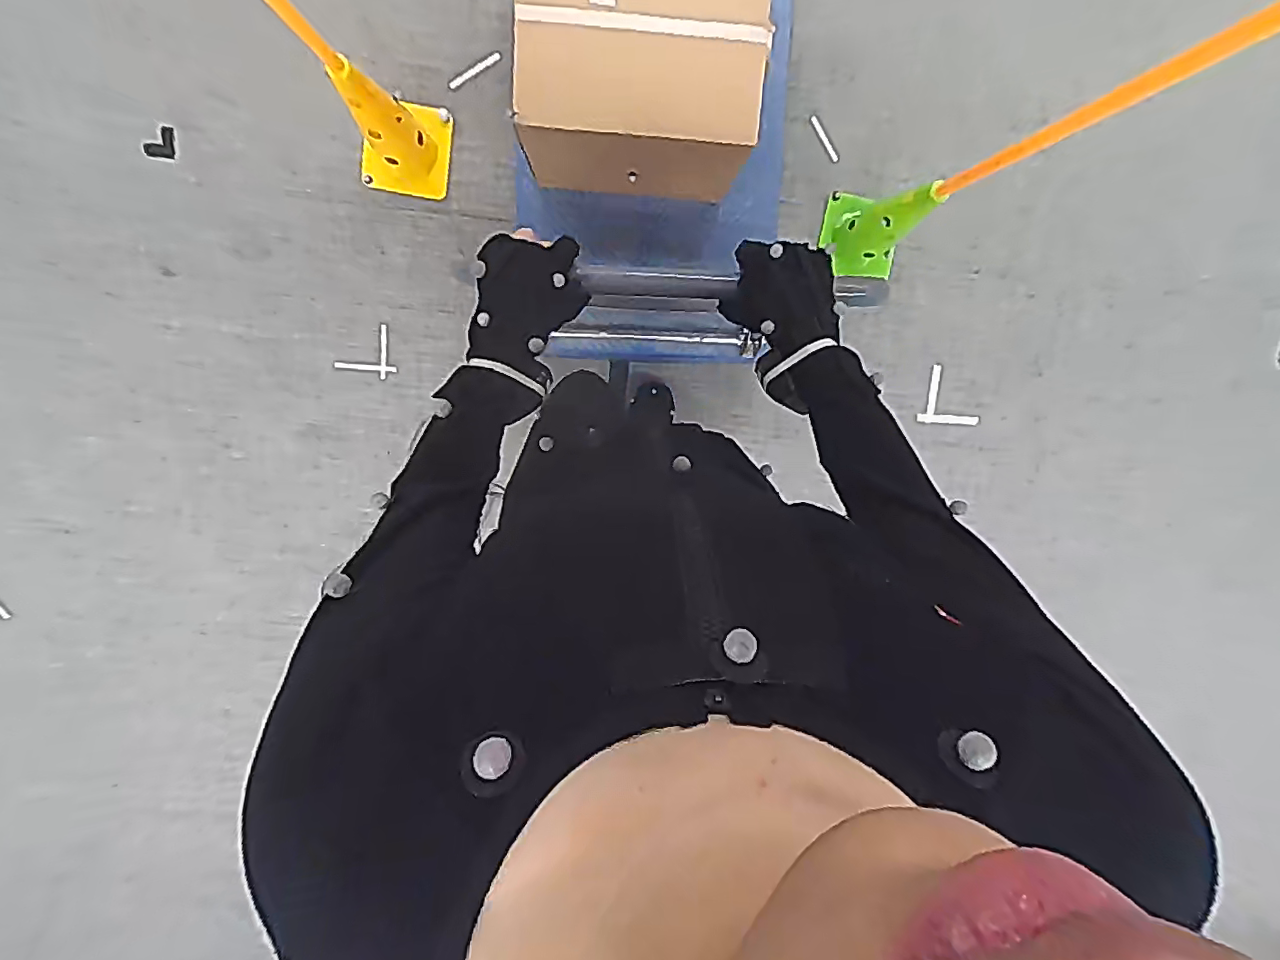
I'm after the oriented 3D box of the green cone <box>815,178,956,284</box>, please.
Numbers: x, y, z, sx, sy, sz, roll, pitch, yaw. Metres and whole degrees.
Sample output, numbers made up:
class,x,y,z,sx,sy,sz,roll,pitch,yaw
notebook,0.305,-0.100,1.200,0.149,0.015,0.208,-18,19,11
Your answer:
class,x,y,z,sx,sy,sz,roll,pitch,yaw
green cone,0.572,-0.589,1.215,0.202,0.368,0.200,9,100,-6

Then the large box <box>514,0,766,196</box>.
class,x,y,z,sx,sy,sz,roll,pitch,yaw
large box,-0.003,-0.748,1.008,0.408,0.320,0.320,3,101,-3
